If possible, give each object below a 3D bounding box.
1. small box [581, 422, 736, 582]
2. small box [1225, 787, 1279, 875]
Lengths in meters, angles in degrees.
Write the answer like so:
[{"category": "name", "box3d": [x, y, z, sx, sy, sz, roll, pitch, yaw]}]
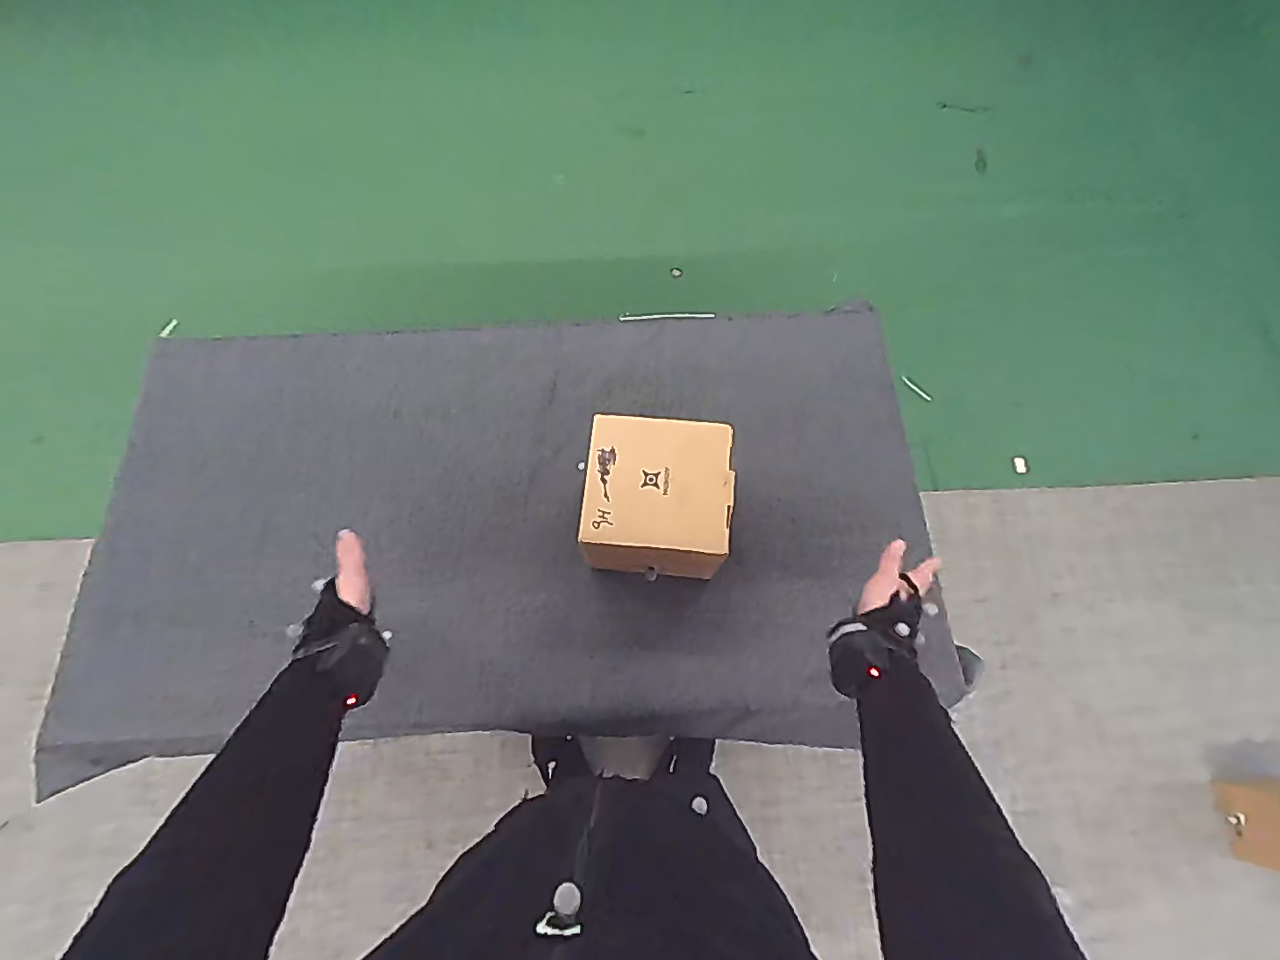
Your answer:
[{"category": "small box", "box3d": [0.024, 0.038, 0.725, 0.179, 0.176, 0.168, 5, 70, 1]}, {"category": "small box", "box3d": [1.508, 0.797, 1.215, 0.179, 0.176, 0.168, -1, 68, -1]}]
